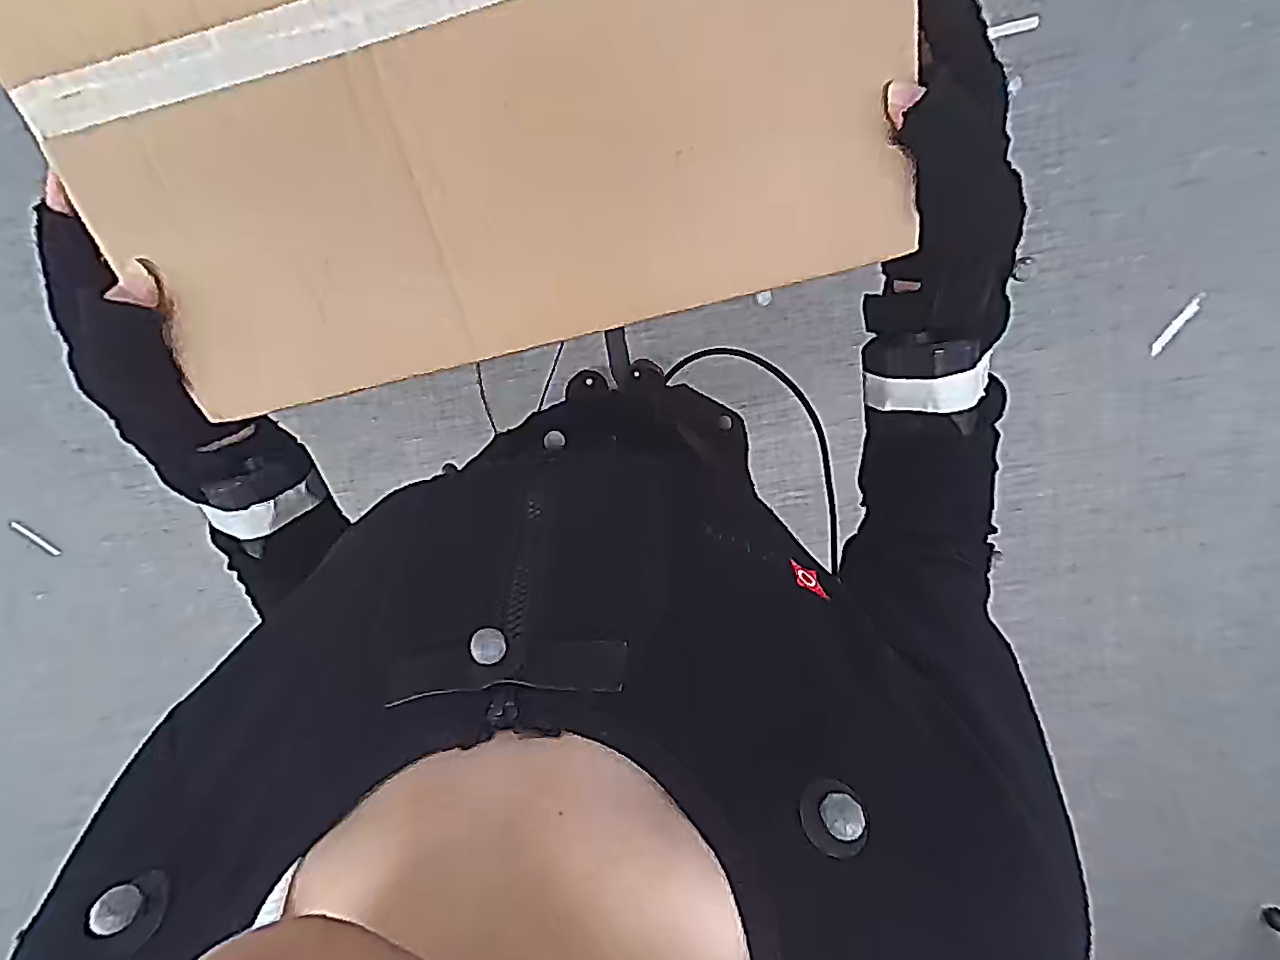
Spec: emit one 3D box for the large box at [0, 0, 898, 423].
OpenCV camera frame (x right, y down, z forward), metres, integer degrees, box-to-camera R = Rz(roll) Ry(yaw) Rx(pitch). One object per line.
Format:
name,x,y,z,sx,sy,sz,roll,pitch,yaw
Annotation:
large box,-0.089,-0.276,0.380,0.408,0.320,0.320,-12,114,5
